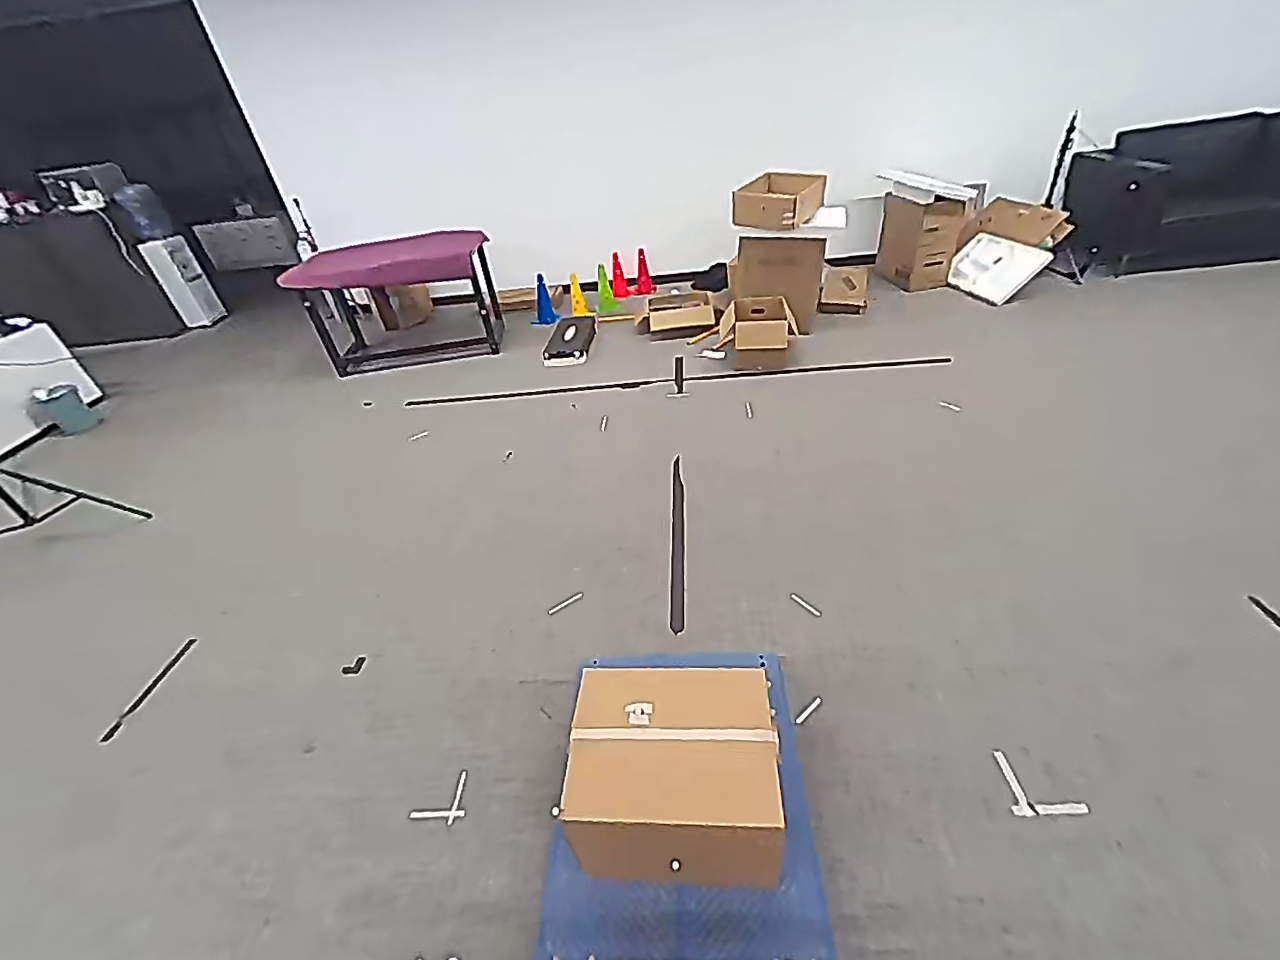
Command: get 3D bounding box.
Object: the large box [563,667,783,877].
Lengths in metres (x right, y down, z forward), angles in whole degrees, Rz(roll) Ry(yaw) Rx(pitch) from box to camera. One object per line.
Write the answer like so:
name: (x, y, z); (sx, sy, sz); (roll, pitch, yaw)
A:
large box: (0.081, 0.633, 1.176); (0.408, 0.320, 0.320); (-3, 36, 7)
